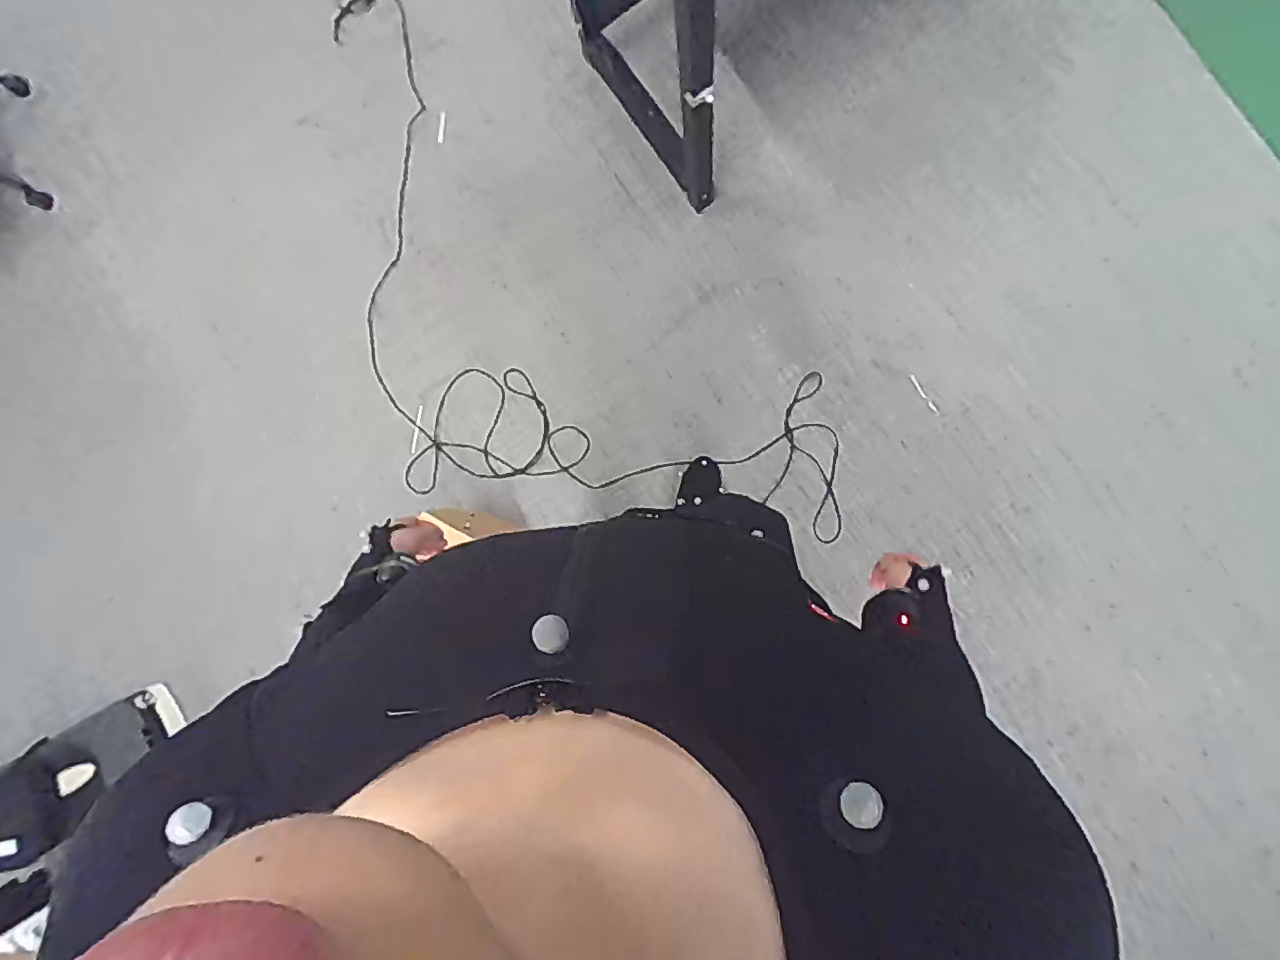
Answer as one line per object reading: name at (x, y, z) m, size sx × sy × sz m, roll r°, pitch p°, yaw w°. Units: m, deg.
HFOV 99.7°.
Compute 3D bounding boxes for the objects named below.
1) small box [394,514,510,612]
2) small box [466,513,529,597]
small box at (-0.440, 0.187, 1.293) m, size 0.179 × 0.176 × 0.168 m, roll 27°, pitch 92°, yaw 6°
small box at (-0.421, 0.193, 1.457) m, size 0.179 × 0.176 × 0.168 m, roll 21°, pitch 92°, yaw 6°
